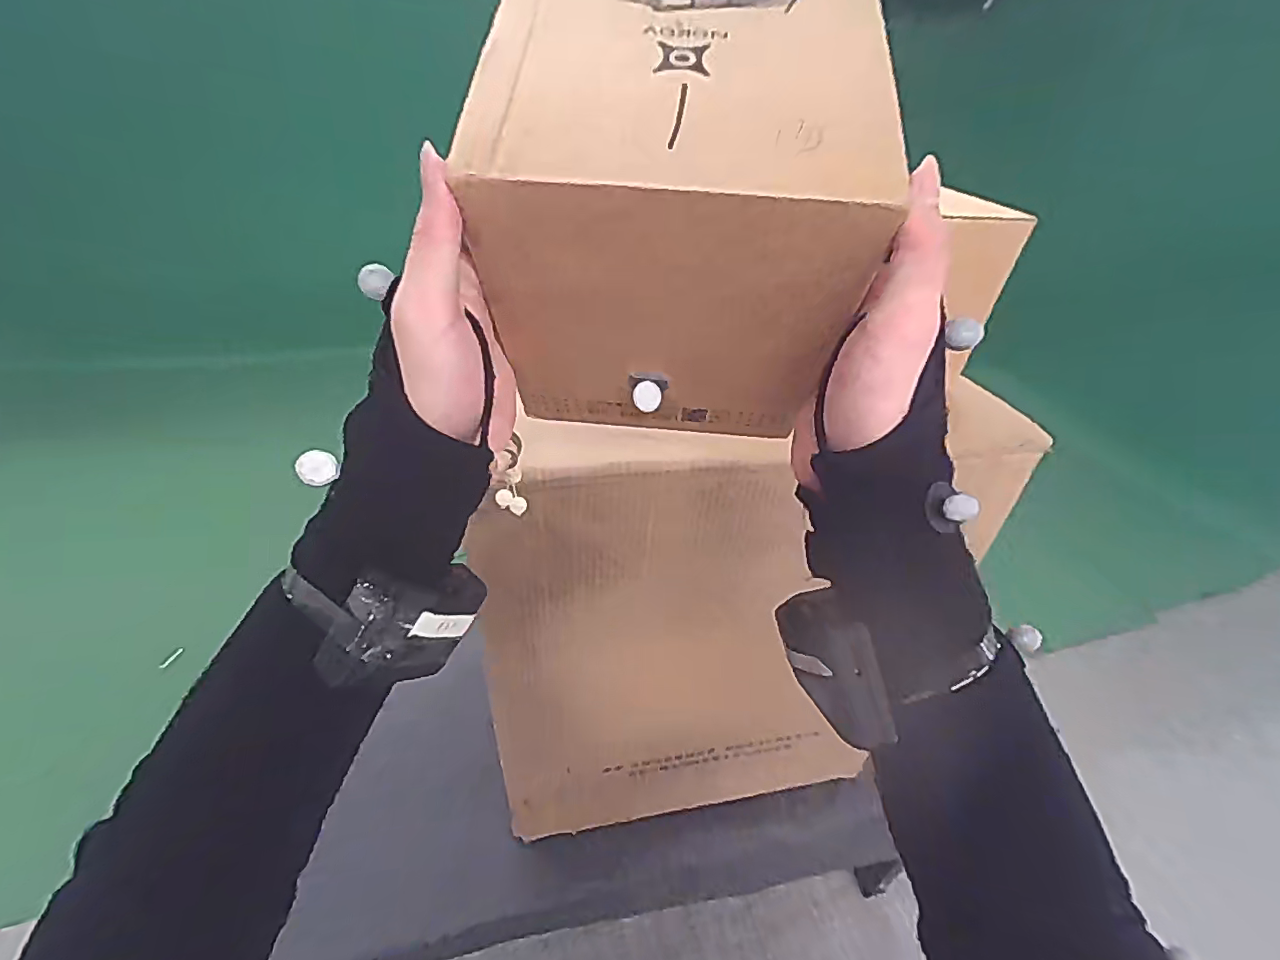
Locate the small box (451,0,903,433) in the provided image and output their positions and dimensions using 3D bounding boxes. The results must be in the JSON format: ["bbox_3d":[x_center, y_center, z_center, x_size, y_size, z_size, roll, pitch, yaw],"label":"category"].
[{"bbox_3d":[0.020,-0.148,0.299,0.168,0.176,0.179,5,66,3],"label":"small box"}]

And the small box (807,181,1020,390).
[{"bbox_3d":[0.221,-0.202,0.554,0.179,0.176,0.168,-3,40,-15],"label":"small box"}]
